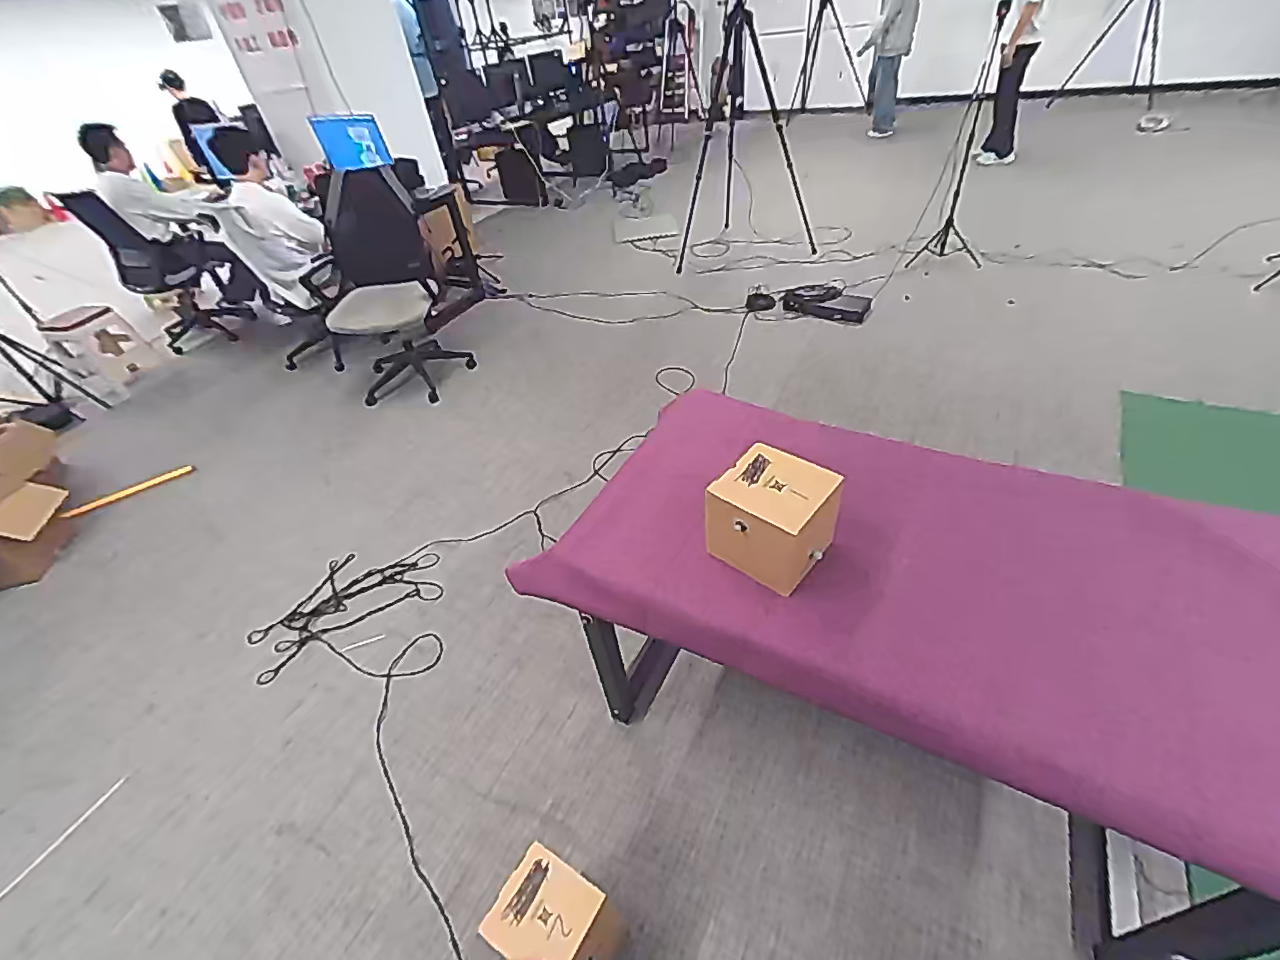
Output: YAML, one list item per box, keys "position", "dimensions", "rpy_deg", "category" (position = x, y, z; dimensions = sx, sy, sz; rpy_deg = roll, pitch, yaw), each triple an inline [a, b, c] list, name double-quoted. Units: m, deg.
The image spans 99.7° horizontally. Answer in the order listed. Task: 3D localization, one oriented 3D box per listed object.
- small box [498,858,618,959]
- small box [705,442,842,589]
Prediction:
- position: [-0.161, 0.953, 1.136]
  dimensions: [0.168, 0.176, 0.179]
  rpy_deg: [20, 49, 27]
  category: "small box"
- position: [0.234, 0.064, 0.974]
  dimensions: [0.179, 0.176, 0.168]
  rpy_deg: [28, 53, 33]
  category: "small box"
